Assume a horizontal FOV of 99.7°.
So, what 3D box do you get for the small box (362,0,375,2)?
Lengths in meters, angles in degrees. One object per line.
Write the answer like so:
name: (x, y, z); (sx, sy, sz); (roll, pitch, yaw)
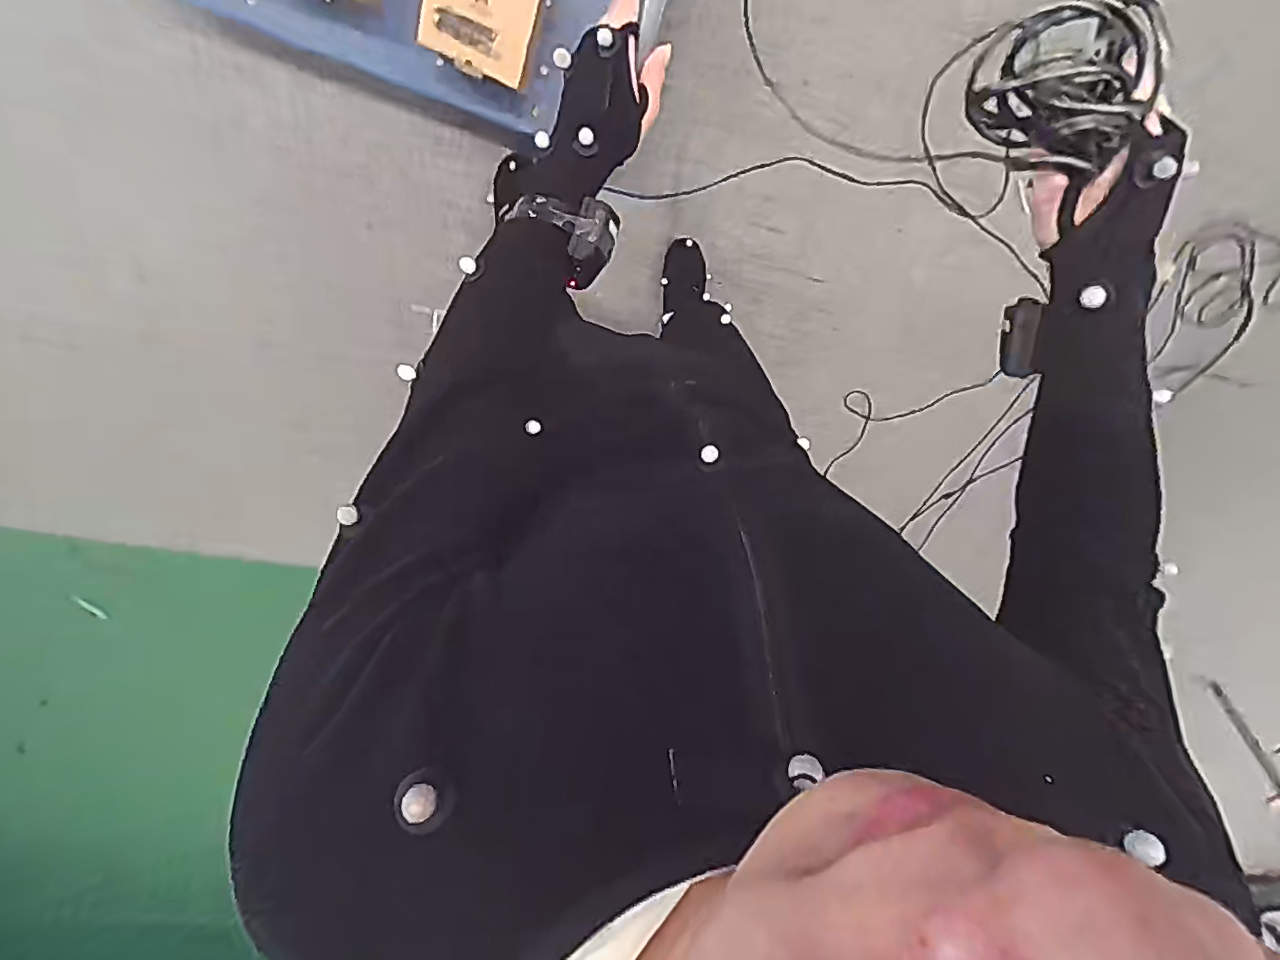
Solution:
small box: (-0.501, -0.870, 0.827); (0.179, 0.176, 0.168); (11, 122, -13)
